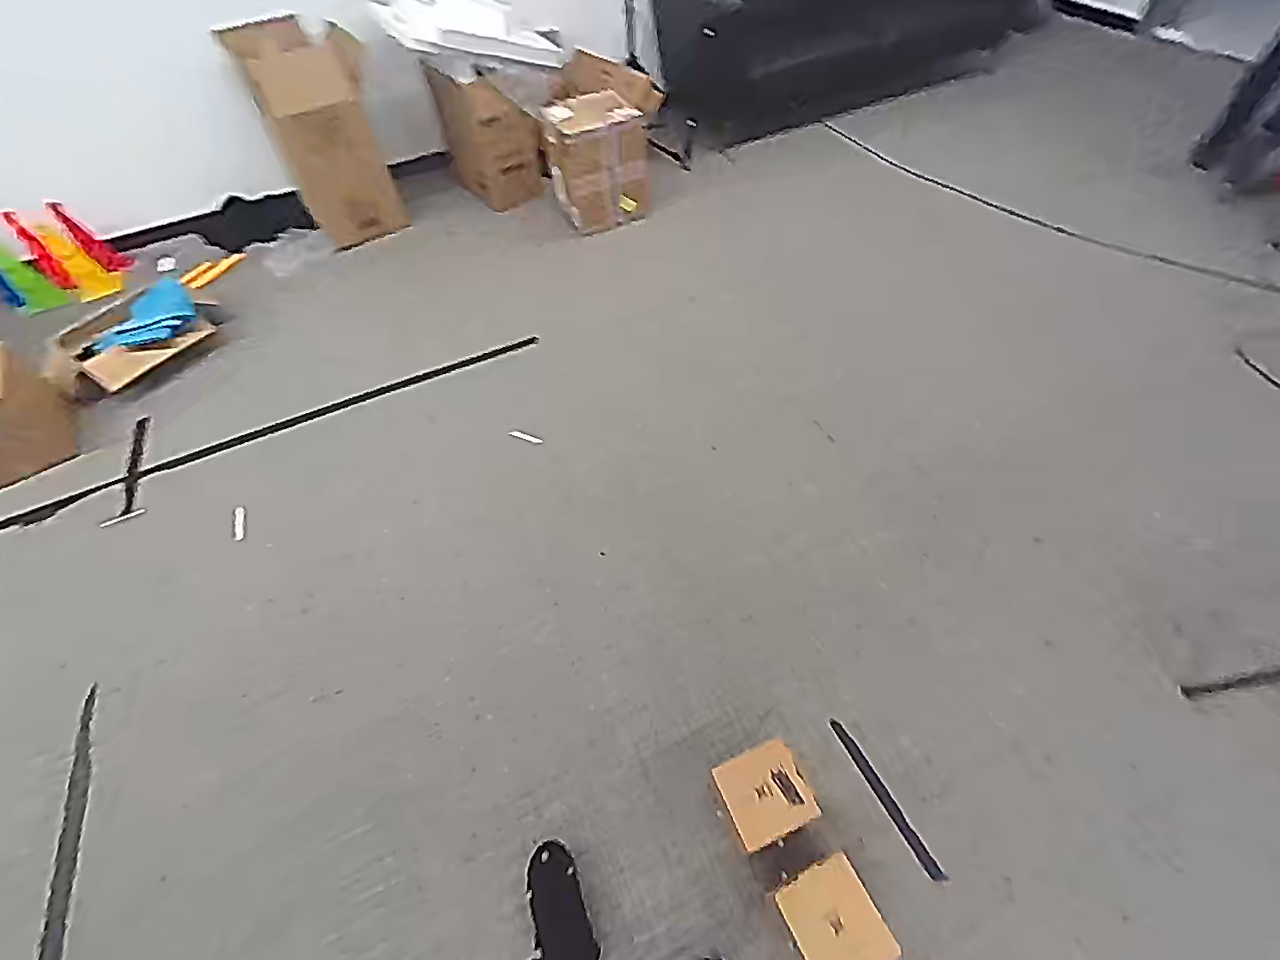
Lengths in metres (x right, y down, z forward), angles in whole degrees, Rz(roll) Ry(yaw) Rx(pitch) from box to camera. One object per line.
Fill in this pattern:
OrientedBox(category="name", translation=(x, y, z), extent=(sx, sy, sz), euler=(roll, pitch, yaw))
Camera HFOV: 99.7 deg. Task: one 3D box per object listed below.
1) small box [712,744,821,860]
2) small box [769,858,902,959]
OrientedBox(category="small box", translation=(0.271, 0.721, 1.208), extent=(0.179, 0.176, 0.168), euler=(-21, 54, -9))
OrientedBox(category="small box", translation=(0.374, 0.890, 1.074), extent=(0.168, 0.176, 0.179), euler=(-24, 56, -11))
